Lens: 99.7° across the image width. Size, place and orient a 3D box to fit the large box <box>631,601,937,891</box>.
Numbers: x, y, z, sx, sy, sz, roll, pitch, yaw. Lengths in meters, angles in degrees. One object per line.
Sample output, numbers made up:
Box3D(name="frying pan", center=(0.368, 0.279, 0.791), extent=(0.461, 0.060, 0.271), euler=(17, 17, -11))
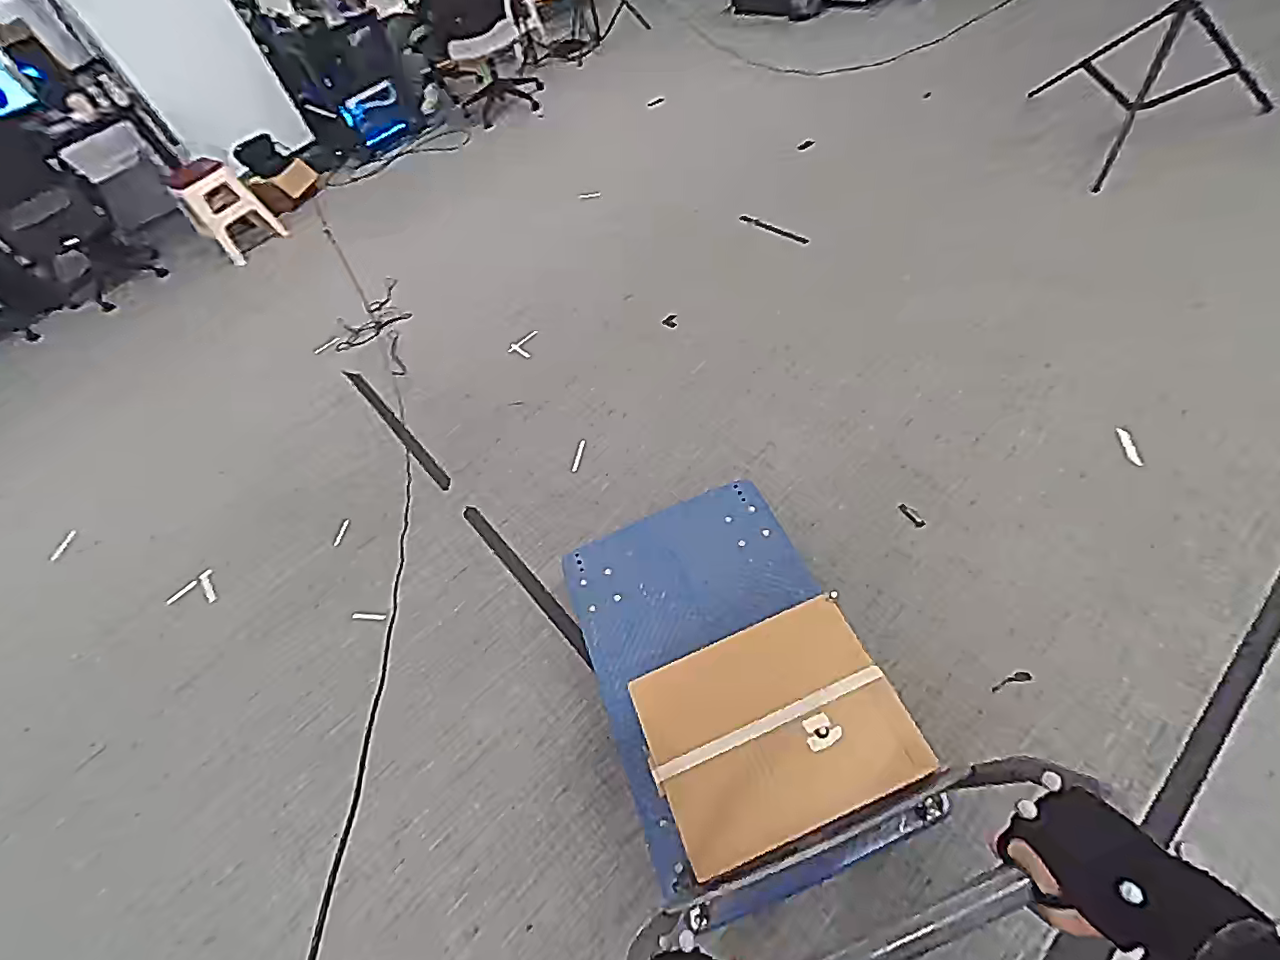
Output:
Box3D(name="large box", center=(0.242, 0.494, 1.001), extent=(0.408, 0.320, 0.320), euler=(-23, 54, -4))
